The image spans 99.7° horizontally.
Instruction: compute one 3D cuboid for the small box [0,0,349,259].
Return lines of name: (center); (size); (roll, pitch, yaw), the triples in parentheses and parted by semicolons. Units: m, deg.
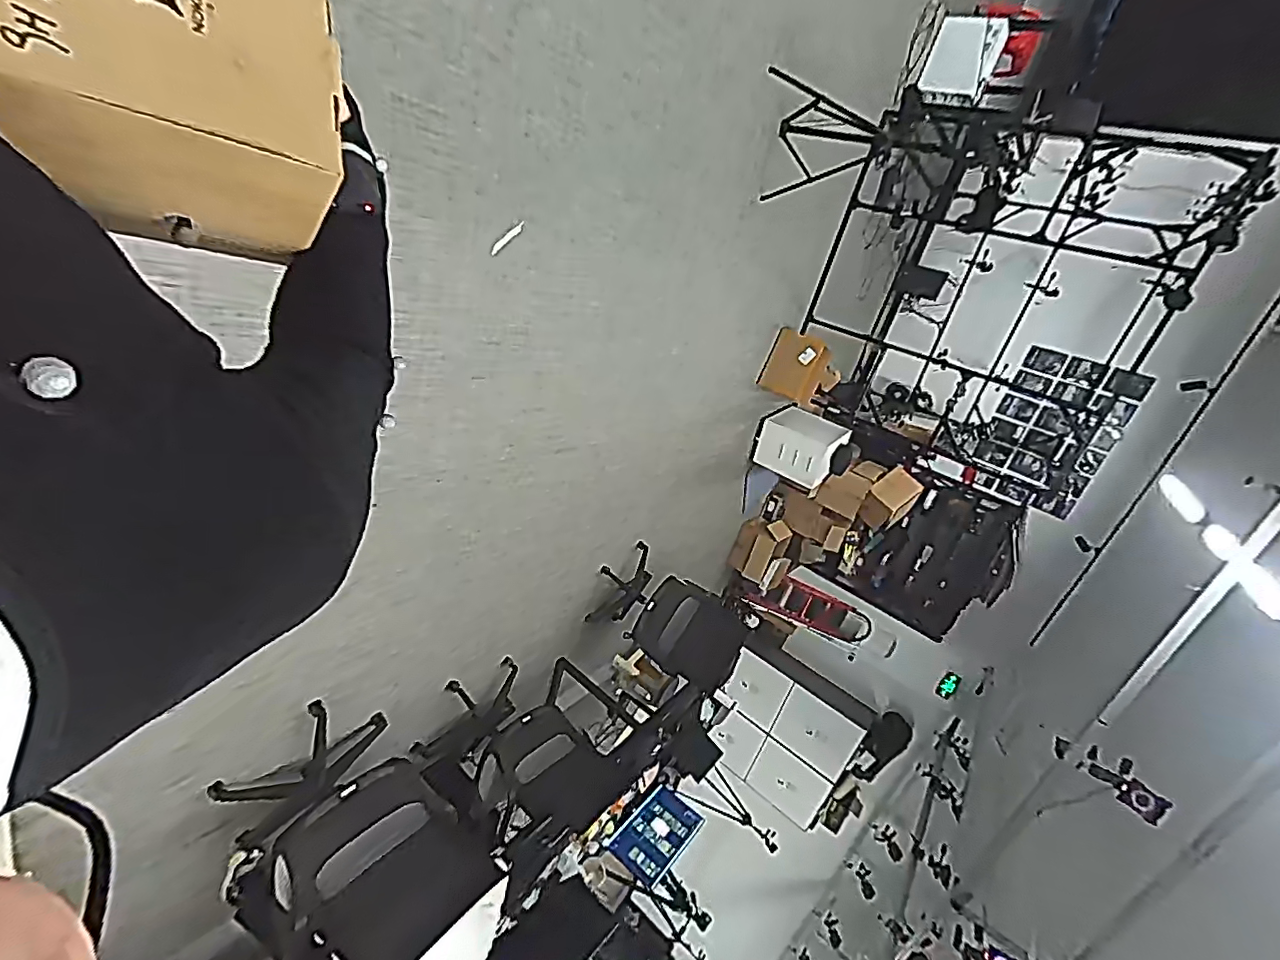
small box: (-0.343, -0.291, 0.409); (0.179, 0.176, 0.168); (-3, 84, -42)
